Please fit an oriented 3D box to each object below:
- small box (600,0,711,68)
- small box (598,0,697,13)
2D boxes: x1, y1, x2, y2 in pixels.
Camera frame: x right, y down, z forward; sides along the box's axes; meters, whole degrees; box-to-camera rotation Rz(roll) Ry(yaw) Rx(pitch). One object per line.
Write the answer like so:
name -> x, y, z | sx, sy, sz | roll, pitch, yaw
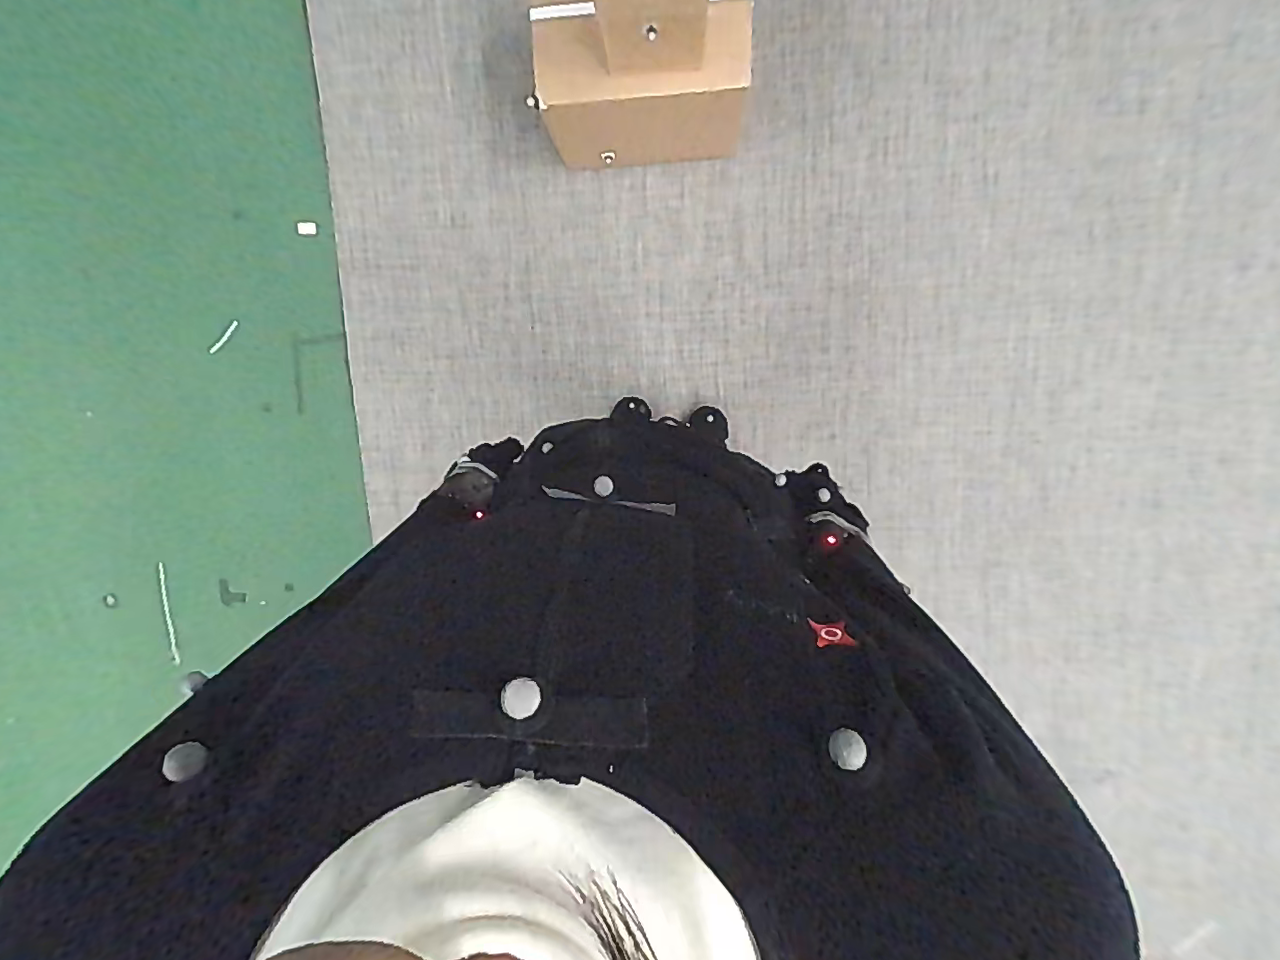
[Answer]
small box -> 0.028, -0.822, 0.899 | 0.179, 0.176, 0.168 | -2, 101, 5
small box -> 0.013, -0.788, 0.739 | 0.179, 0.176, 0.168 | 0, 101, 7
